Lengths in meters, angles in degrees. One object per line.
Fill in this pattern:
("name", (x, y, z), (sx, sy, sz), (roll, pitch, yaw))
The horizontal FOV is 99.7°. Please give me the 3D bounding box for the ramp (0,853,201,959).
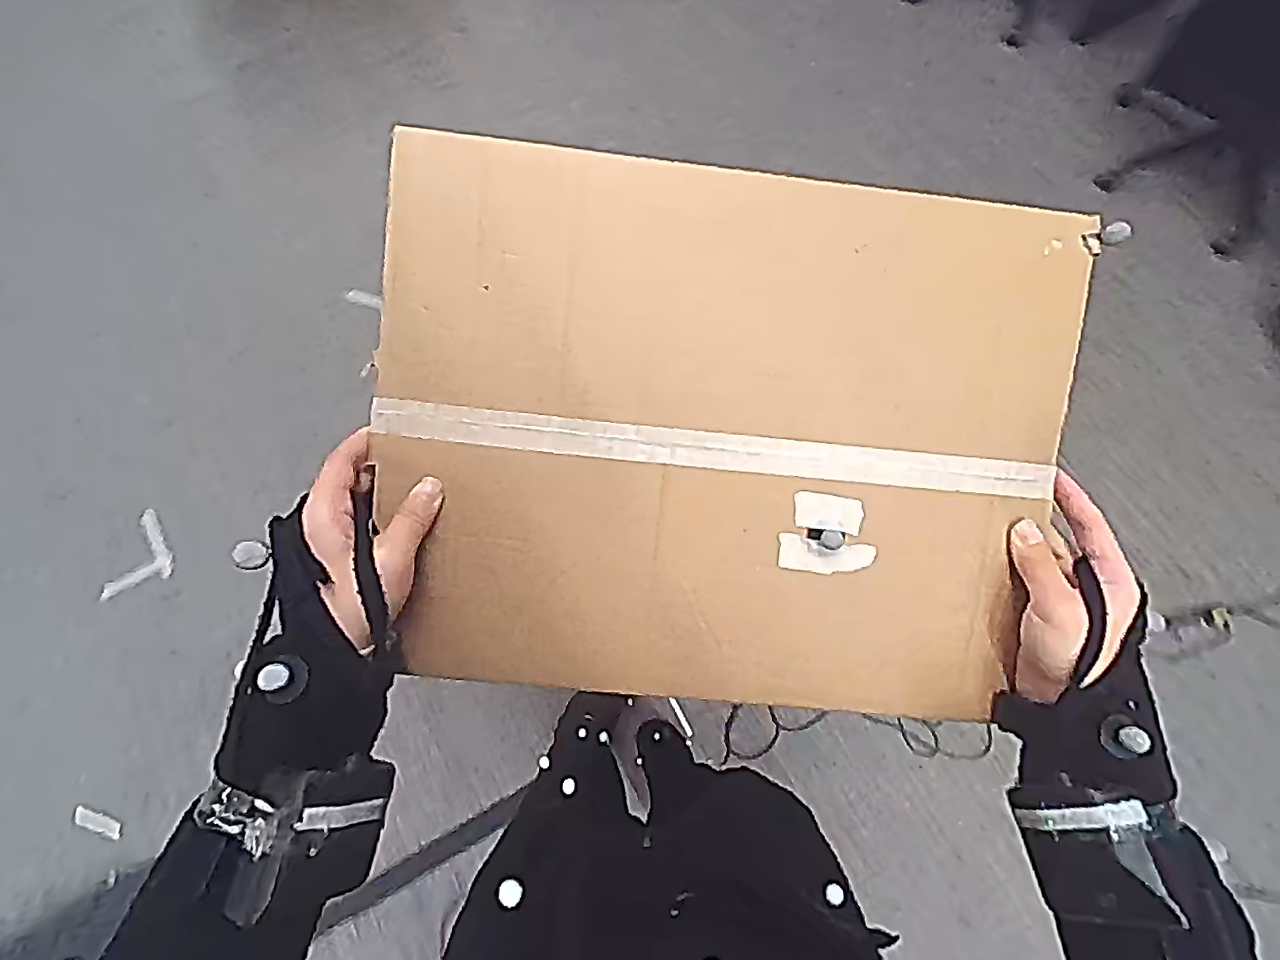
("ramp", (-1.276, 1.156, 0.890), (0.991, 0.206, 0.509), (-29, 74, -10))
